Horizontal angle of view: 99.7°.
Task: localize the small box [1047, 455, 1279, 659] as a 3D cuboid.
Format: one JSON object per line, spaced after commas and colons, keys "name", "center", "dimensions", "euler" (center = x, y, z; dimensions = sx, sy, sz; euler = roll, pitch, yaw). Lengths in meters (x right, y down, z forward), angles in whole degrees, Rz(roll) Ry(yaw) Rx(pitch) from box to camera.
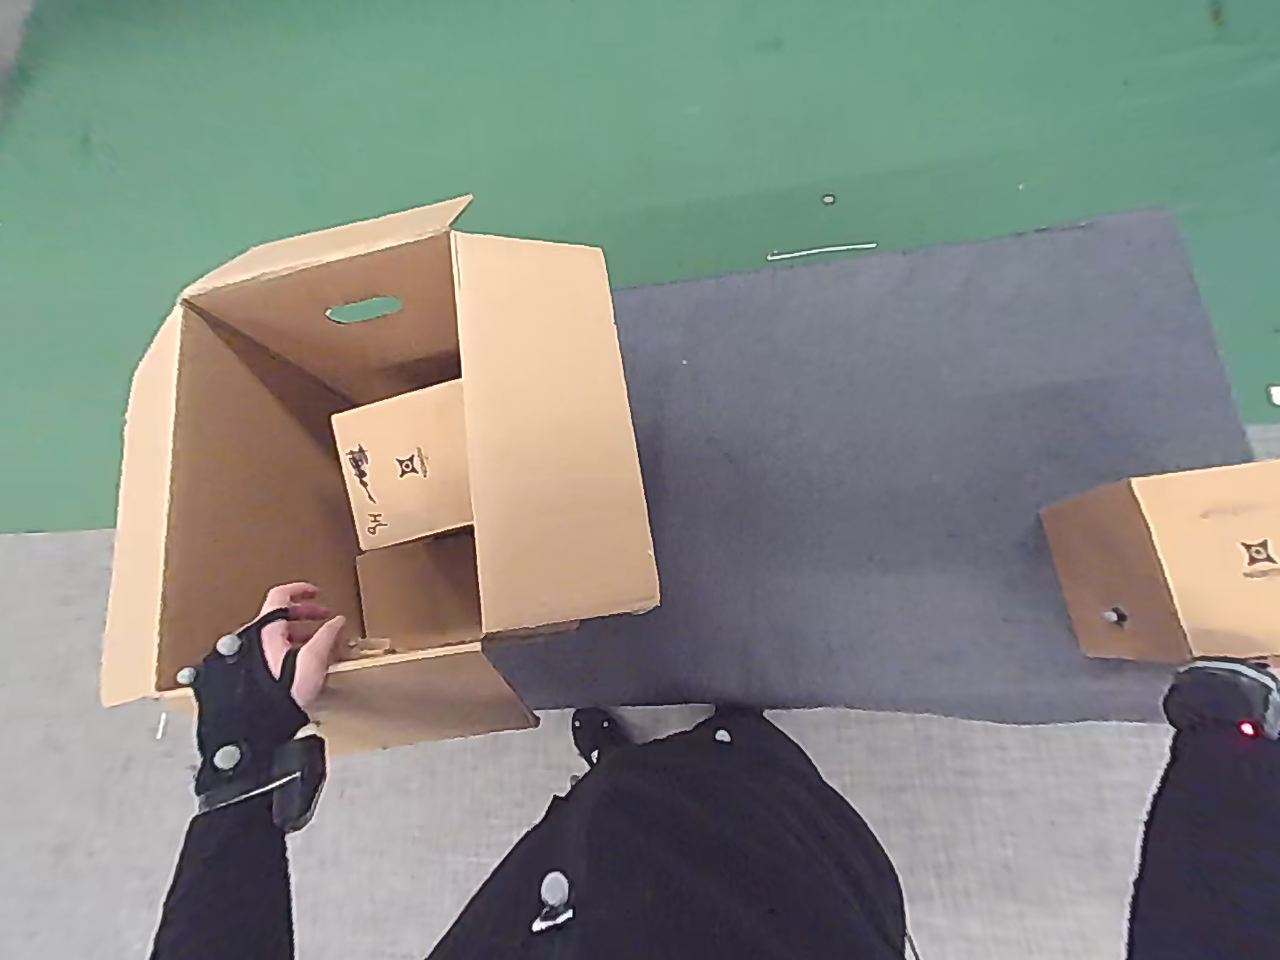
{"name": "small box", "center": [0.581, 0.085, 0.571], "dimensions": [0.168, 0.176, 0.179], "euler": [-8, 74, 8]}
